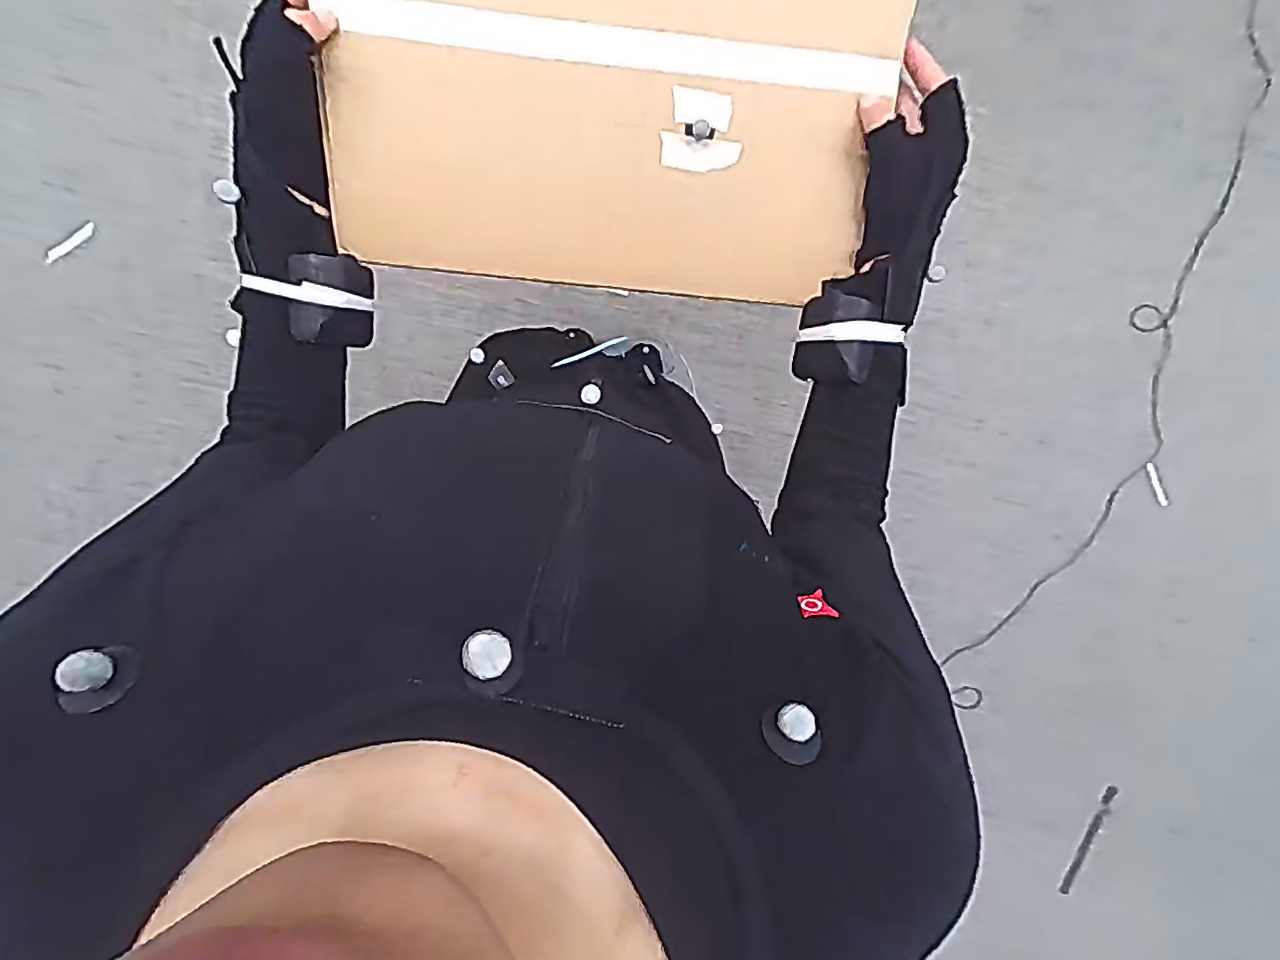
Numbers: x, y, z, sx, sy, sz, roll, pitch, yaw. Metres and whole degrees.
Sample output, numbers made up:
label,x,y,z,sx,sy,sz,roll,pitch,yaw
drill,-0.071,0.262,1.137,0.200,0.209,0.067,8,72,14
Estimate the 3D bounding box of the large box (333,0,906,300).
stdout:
label,x,y,z,sx,sy,sz,roll,pitch,yaw
large box,-0.023,-0.361,0.523,0.408,0.320,0.320,4,113,-4
